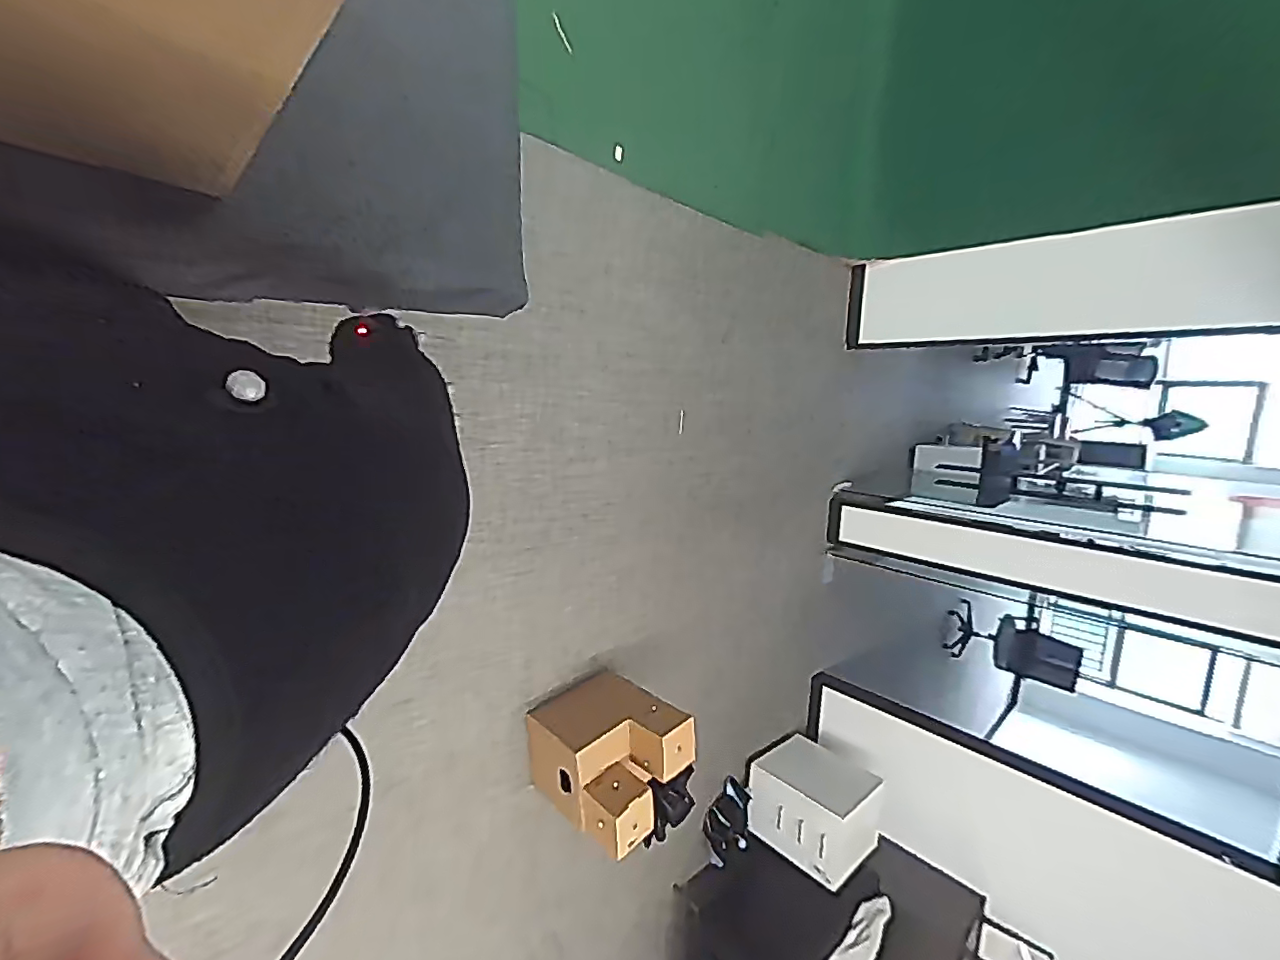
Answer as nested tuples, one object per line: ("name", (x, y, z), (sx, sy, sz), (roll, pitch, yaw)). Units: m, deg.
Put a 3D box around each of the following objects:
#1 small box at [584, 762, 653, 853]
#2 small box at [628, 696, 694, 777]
("small box", (-0.075, 1.089, 1.824), (0.168, 0.176, 0.179), (-18, 111, -41))
("small box", (0.074, 0.912, 1.939), (0.168, 0.176, 0.179), (-14, 104, -43))
